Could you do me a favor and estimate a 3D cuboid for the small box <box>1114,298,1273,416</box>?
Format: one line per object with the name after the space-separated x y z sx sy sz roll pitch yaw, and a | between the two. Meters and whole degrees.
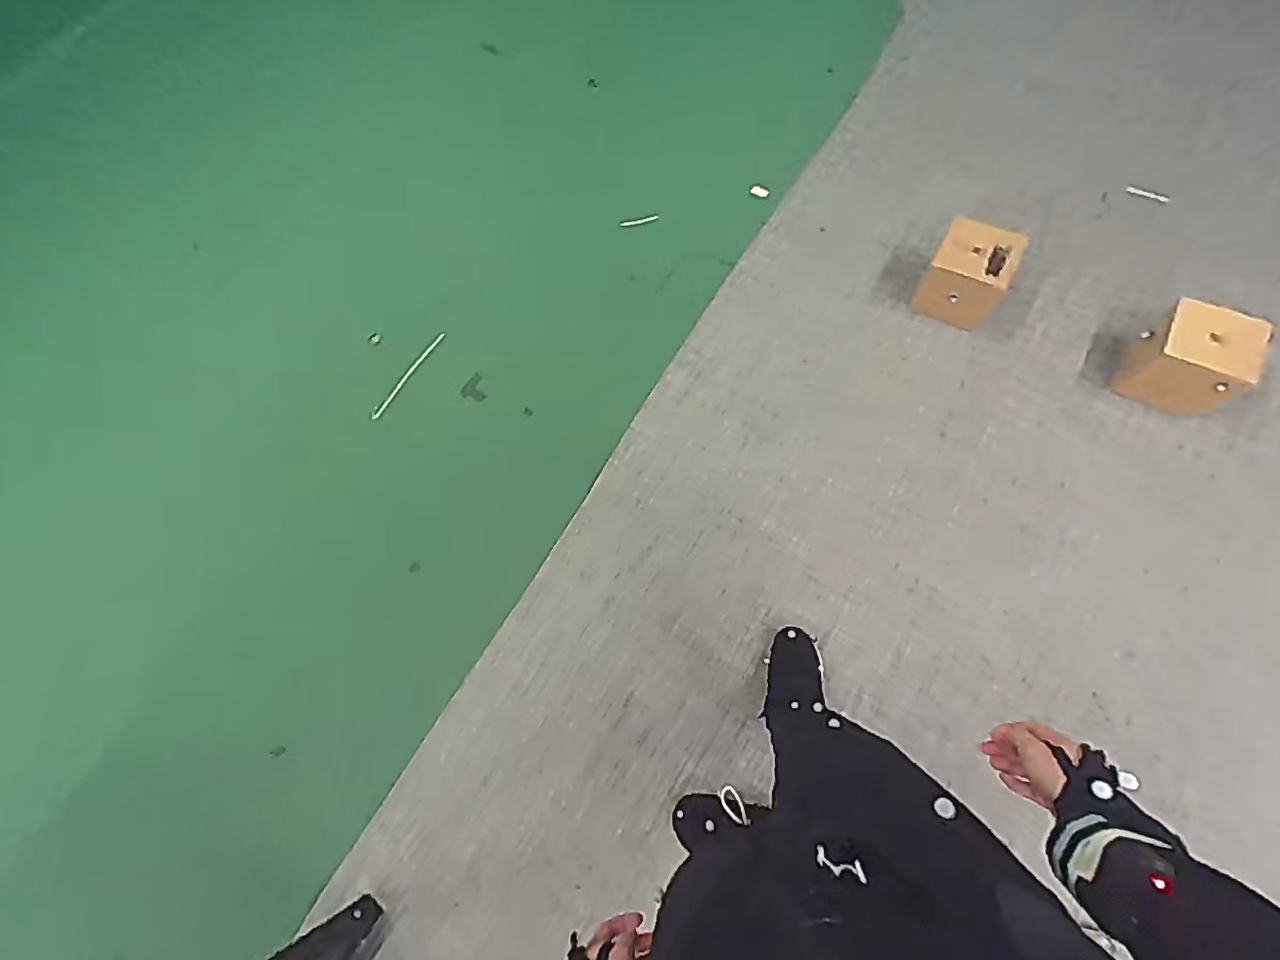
1.230 -0.269 1.216 0.179 0.176 0.168 26 75 15 | small box
